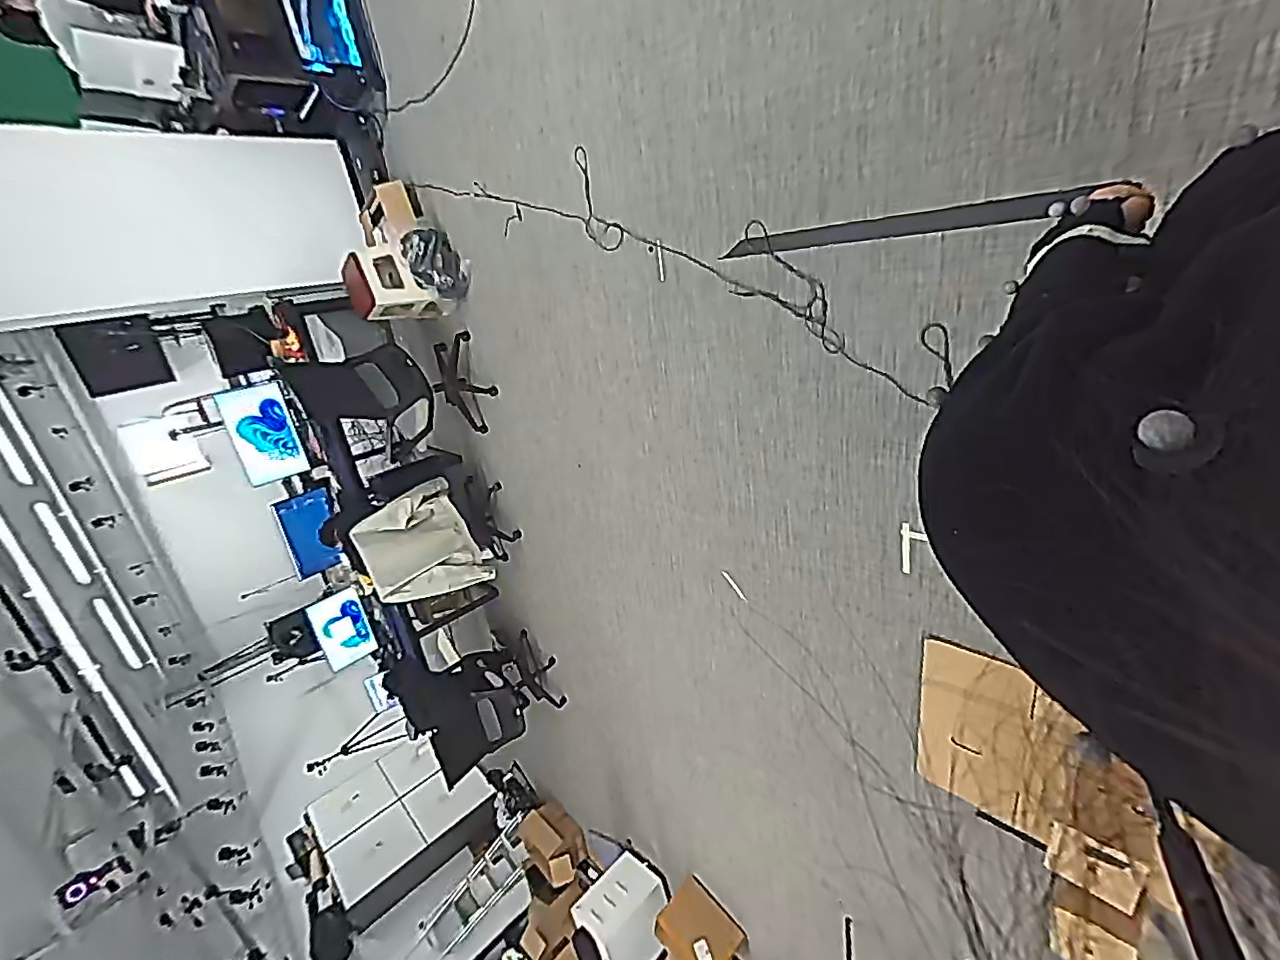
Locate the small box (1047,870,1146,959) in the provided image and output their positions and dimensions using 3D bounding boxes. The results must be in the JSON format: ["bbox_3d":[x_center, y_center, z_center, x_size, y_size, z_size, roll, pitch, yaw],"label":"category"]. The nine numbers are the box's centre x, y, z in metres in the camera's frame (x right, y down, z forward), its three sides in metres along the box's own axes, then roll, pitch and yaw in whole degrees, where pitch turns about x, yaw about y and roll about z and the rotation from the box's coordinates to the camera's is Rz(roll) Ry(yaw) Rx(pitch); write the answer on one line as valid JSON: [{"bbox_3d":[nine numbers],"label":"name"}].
[{"bbox_3d":[1.143,1.093,1.354,0.168,0.176,0.179,7,116,47],"label":"small box"}]

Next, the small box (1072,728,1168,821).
[{"bbox_3d":[1.204,0.770,1.366,0.168,0.176,0.179,12,121,47],"label":"small box"}]

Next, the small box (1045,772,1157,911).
[{"bbox_3d":[1.086,0.839,1.274,0.168,0.176,0.179,16,123,45],"label":"small box"}]
